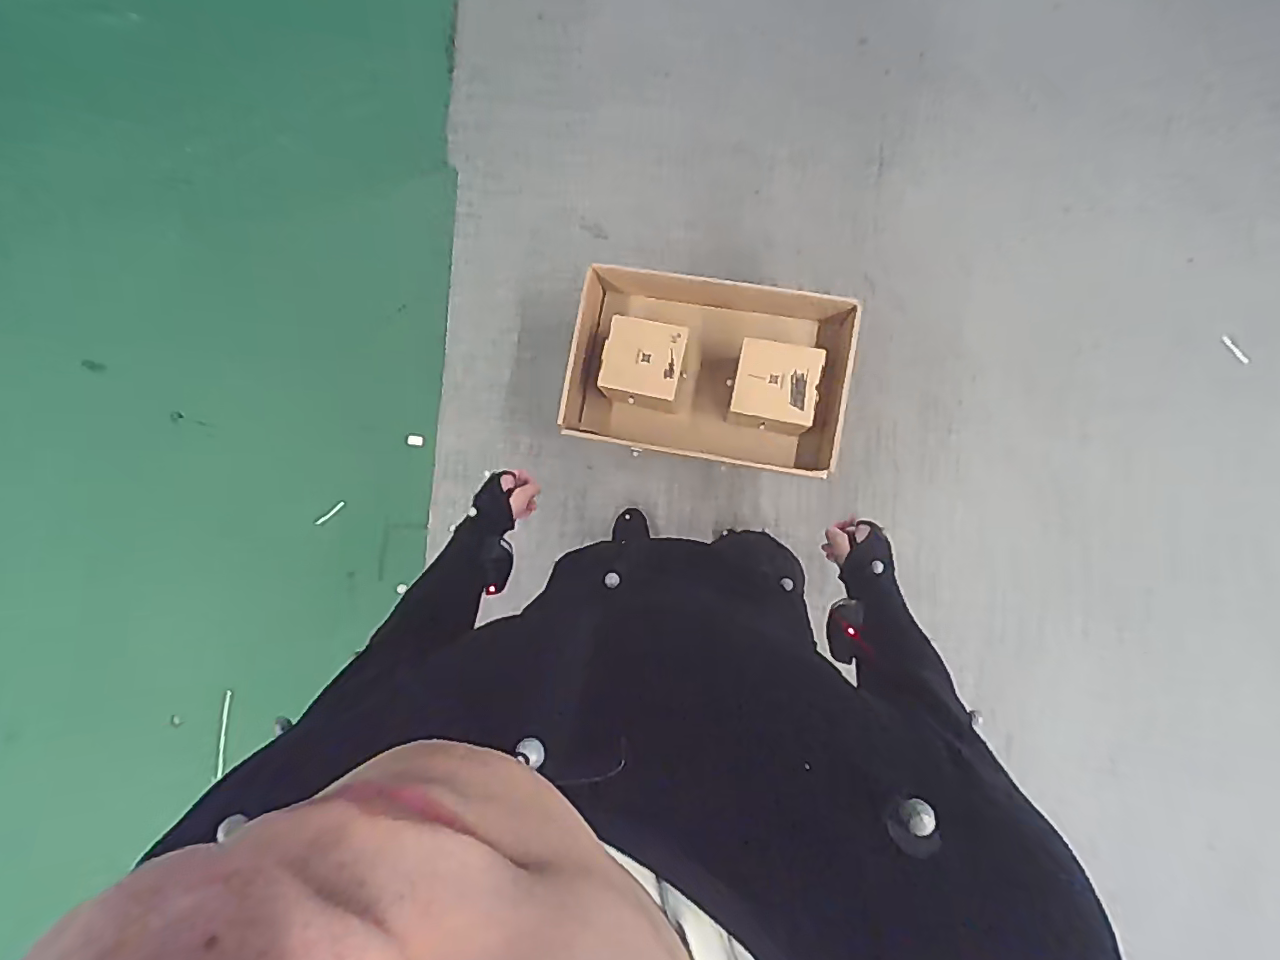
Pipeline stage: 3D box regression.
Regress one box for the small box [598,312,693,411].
[{"bbox_3d":[0.019,-0.266,1.250,0.179,0.176,0.168,13,88,8],"label":"small box"}]
